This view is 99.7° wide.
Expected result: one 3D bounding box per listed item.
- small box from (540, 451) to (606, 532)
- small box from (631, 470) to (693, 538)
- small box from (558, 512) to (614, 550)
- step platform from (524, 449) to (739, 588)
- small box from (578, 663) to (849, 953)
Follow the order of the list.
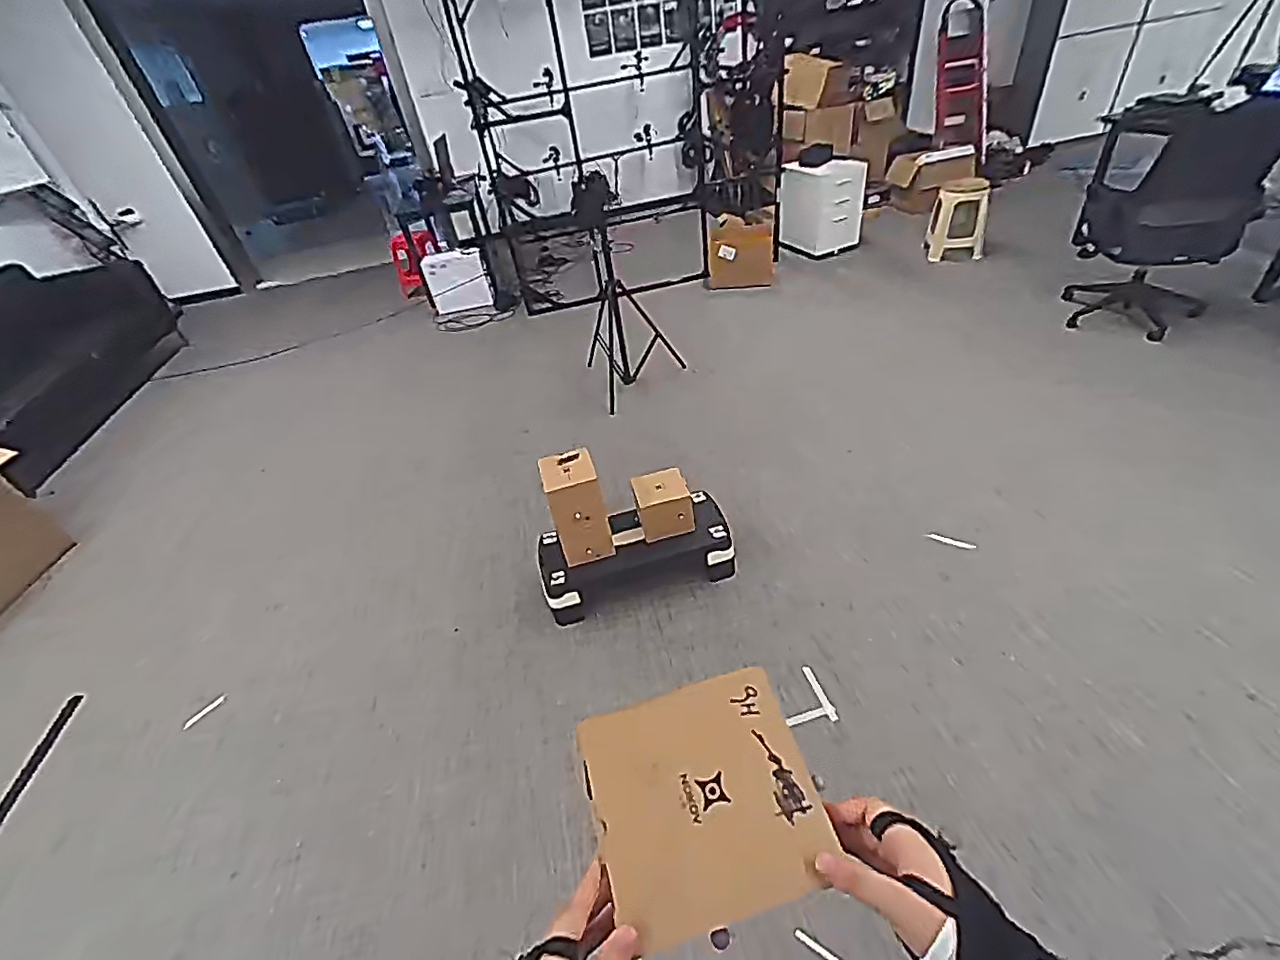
[{"bbox_3d":[-0.215,0.037,1.735,0.168,0.176,0.179,-16,39,-7],"label":"small box"},{"bbox_3d":[0.080,0.095,1.864,0.179,0.176,0.168,-15,38,-6],"label":"small box"},{"bbox_3d":[-0.190,0.165,1.833,0.168,0.176,0.179,-15,39,-6],"label":"small box"},{"bbox_3d":[-0.025,0.125,1.792,0.684,0.204,0.286,-15,38,-7],"label":"step platform"},{"bbox_3d":[0.056,0.296,0.488,0.179,0.176,0.168,-15,51,-6],"label":"small box"}]
